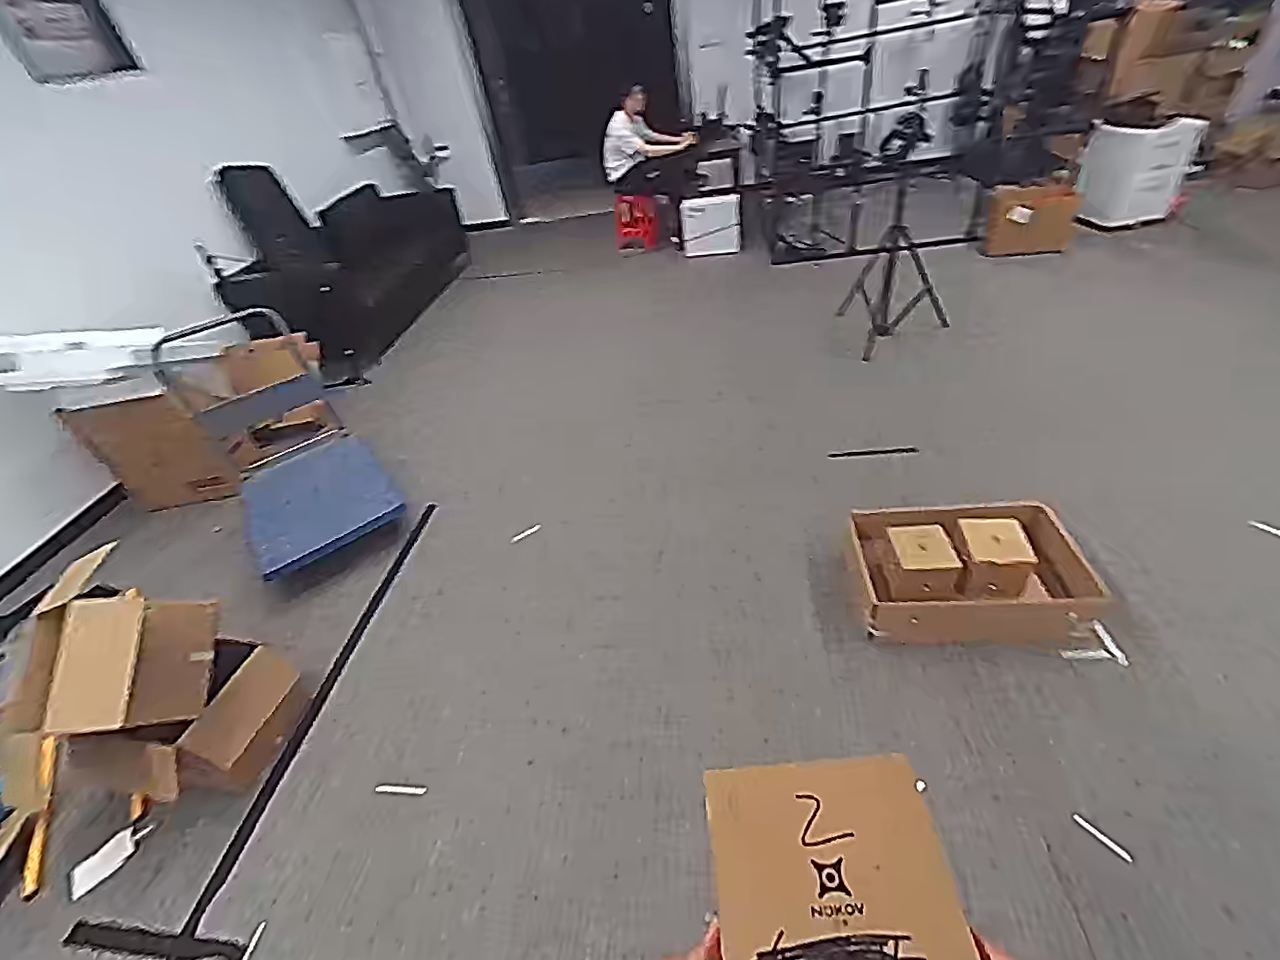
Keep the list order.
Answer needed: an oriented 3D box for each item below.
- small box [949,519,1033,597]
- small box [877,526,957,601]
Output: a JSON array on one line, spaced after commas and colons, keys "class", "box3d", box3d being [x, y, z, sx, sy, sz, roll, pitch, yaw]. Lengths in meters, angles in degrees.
[{"class": "small box", "box3d": [1.081, 0.243, 1.688, 0.168, 0.176, 0.179, -1, 40, 13]}, {"class": "small box", "box3d": [0.865, 0.267, 1.705, 0.168, 0.176, 0.179, -4, 40, 6]}]
